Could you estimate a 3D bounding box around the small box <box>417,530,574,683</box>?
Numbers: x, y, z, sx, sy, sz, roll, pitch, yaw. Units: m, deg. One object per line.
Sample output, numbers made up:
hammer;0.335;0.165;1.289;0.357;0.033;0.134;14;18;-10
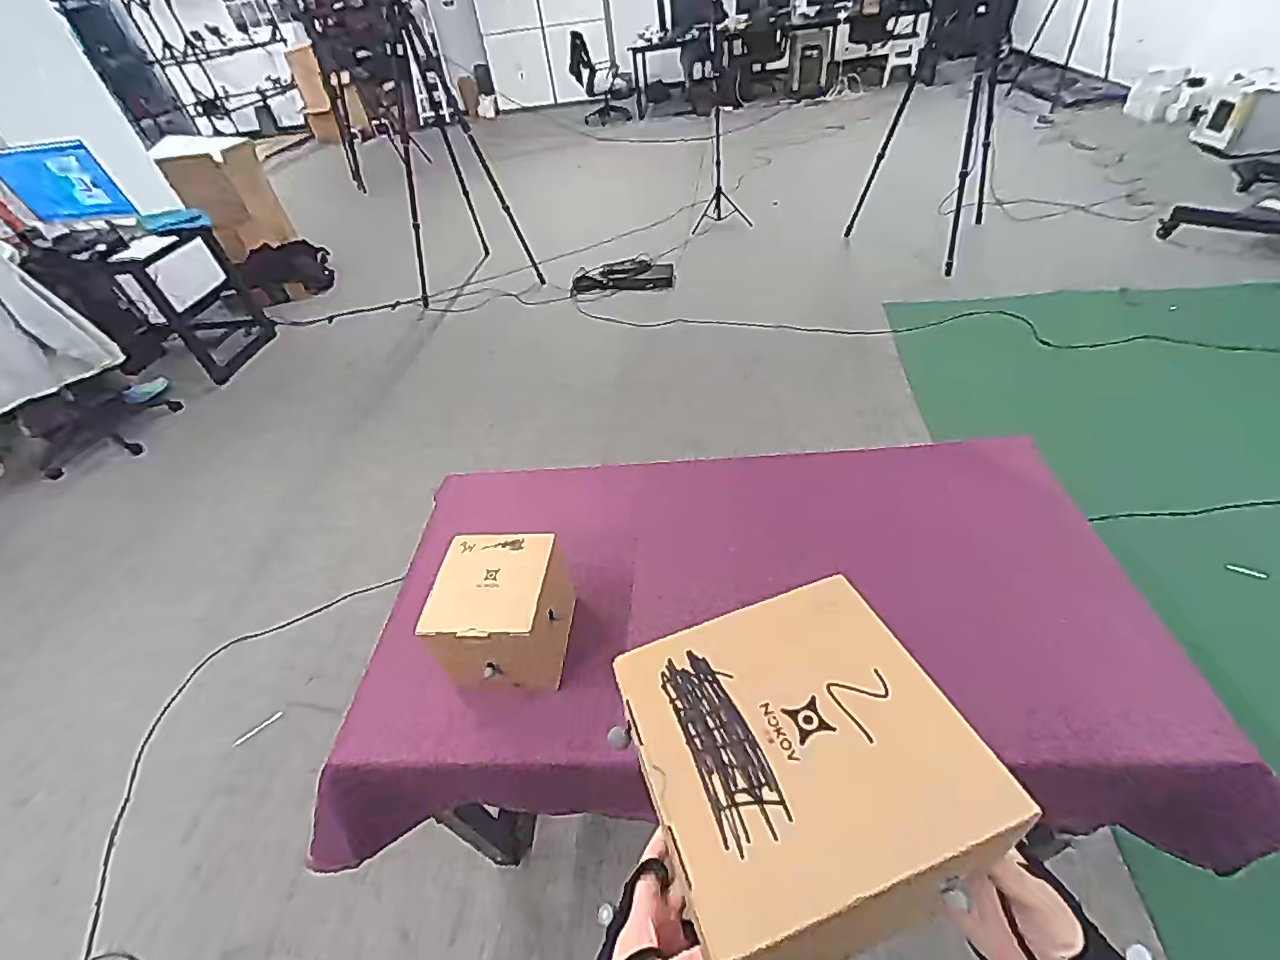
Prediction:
small box;-0.206;0.195;0.832;0.168;0.176;0.179;0;45;8
